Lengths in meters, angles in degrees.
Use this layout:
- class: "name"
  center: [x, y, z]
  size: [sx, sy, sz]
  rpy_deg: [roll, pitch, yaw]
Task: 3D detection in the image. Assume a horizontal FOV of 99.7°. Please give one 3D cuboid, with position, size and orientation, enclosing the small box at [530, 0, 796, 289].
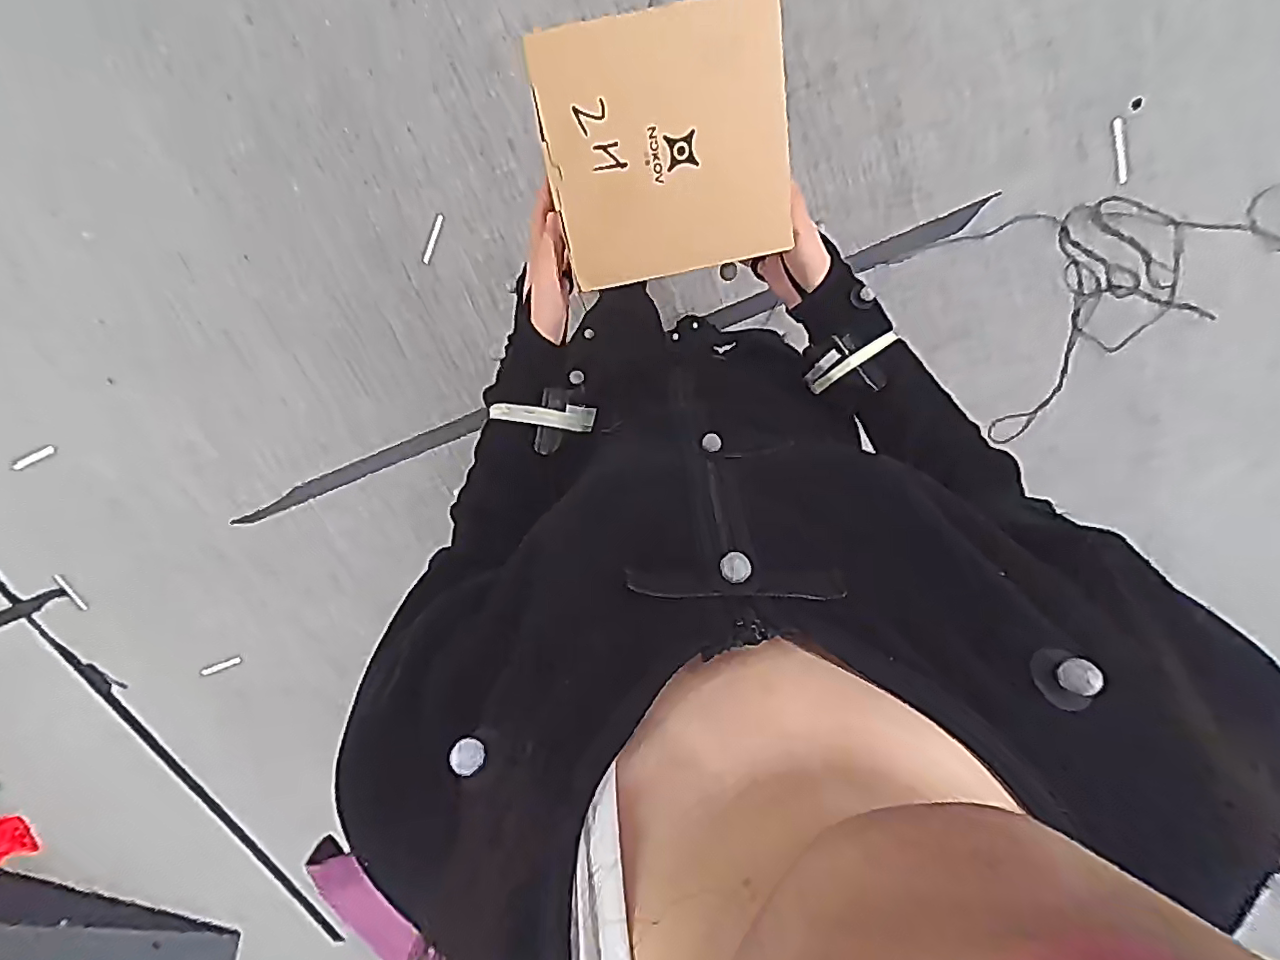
- class: "small box"
  center: [0.017, -0.269, 0.458]
  size: [0.179, 0.176, 0.168]
  rpy_deg: [-11, 115, 0]
